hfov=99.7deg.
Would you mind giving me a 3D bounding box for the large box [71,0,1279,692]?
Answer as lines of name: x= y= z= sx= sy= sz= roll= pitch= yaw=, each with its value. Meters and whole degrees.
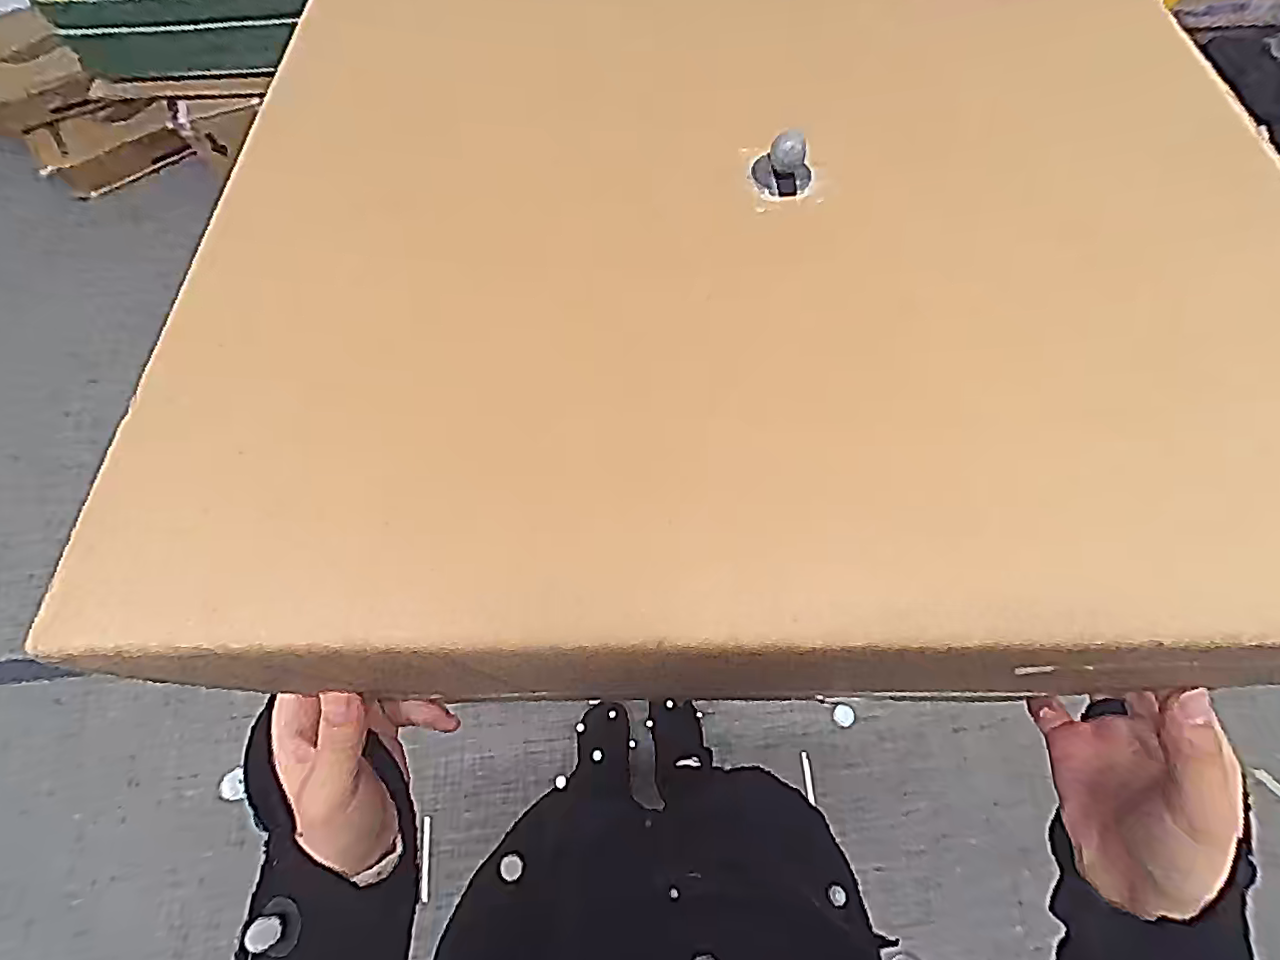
large box: x=0.046 y=-0.046 z=0.332 sx=0.408 sy=0.320 sz=0.320 roll=-1 pitch=67 yaw=0
